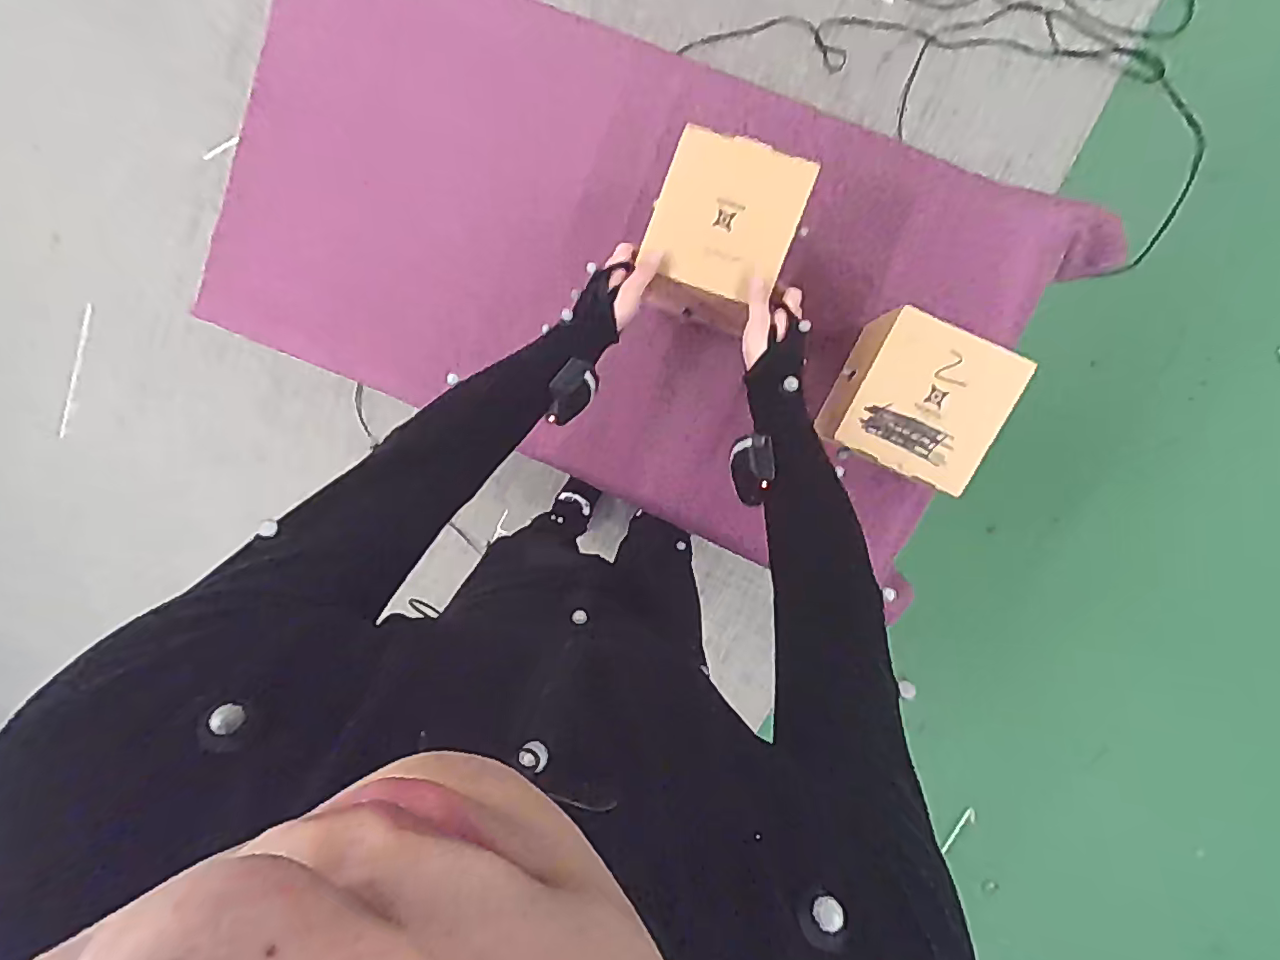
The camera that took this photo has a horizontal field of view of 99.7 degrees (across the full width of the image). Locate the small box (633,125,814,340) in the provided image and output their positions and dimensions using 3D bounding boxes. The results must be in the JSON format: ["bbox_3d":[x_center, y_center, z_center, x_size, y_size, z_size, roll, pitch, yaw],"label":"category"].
[{"bbox_3d":[0.101,-0.307,0.707,0.168,0.176,0.179,21,93,5],"label":"small box"}]
